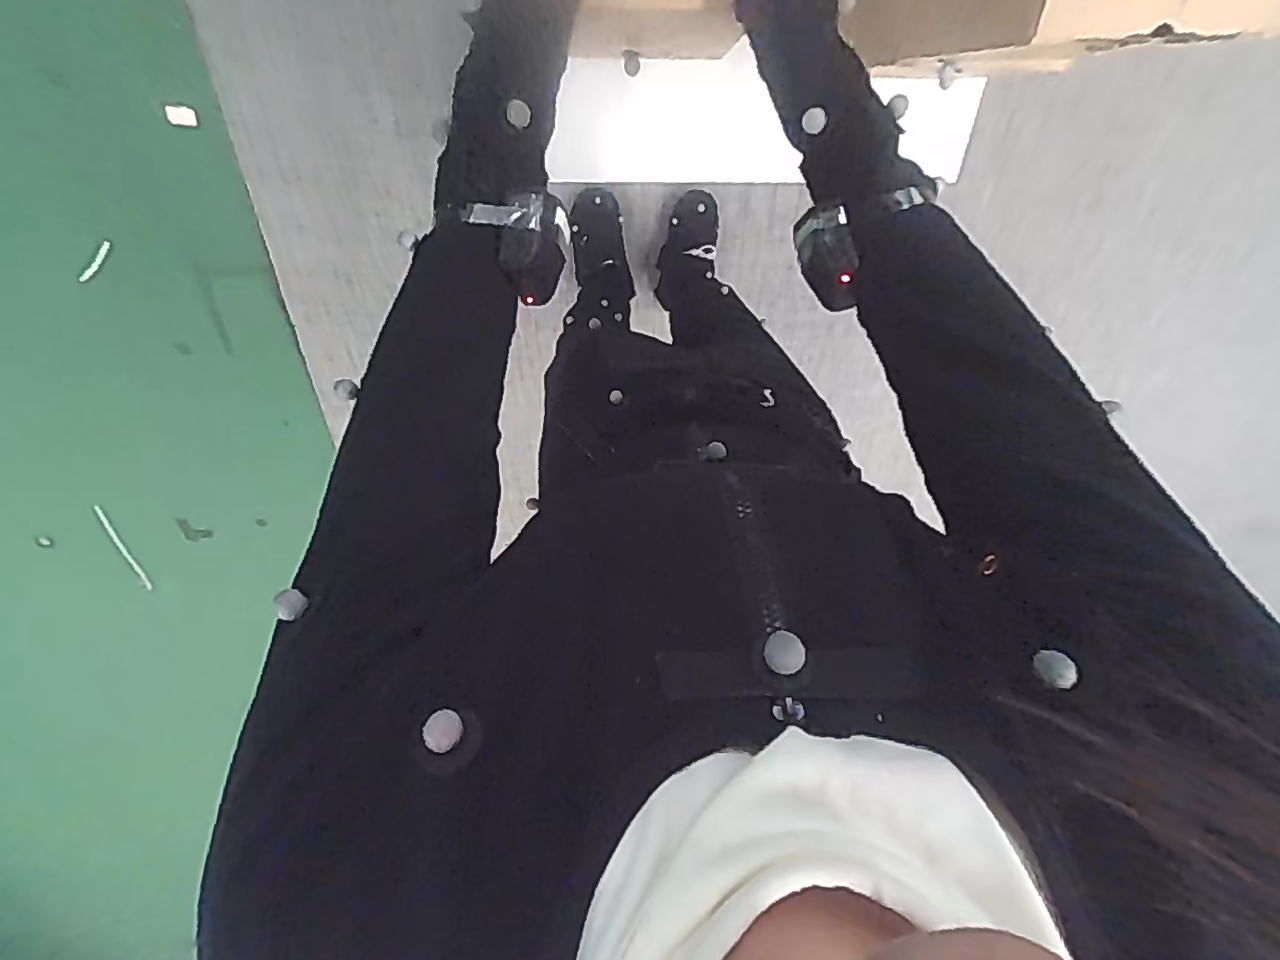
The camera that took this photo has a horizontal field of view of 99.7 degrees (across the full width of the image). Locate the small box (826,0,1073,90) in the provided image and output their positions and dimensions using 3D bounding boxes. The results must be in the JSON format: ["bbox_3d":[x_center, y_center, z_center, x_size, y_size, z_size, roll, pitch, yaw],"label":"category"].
[{"bbox_3d":[0.286,-0.463,0.483,0.168,0.176,0.179,-2,124,-5],"label":"small box"}]

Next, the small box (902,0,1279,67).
[{"bbox_3d":[0.296,-0.376,0.344,0.168,0.176,0.179,-5,124,-3],"label":"small box"}]
